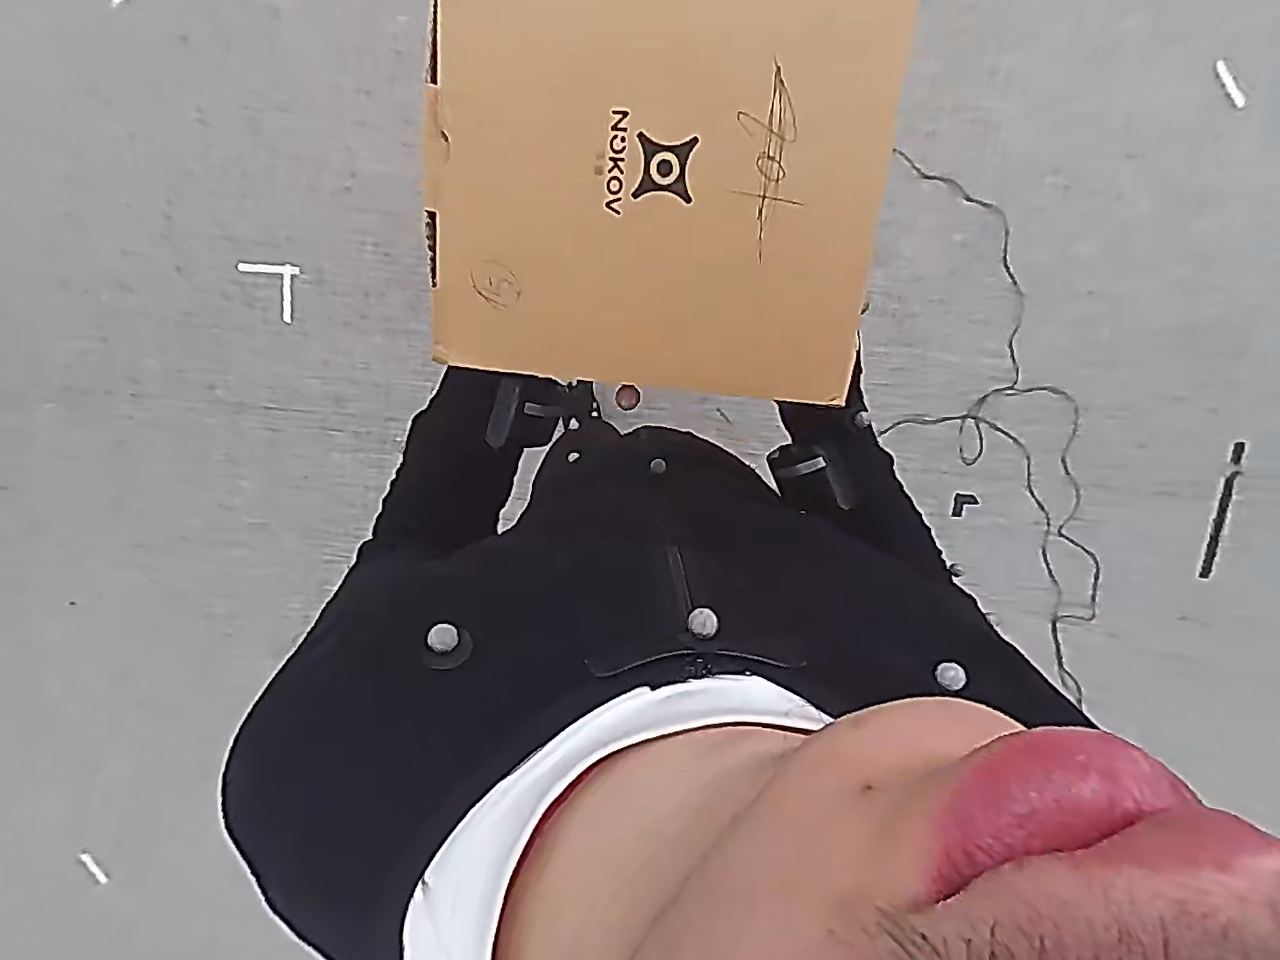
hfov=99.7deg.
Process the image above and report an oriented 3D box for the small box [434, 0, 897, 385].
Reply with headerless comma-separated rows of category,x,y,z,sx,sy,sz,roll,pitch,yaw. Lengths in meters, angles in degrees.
small box,0.007,-0.147,0.296,0.179,0.176,0.168,6,104,0
